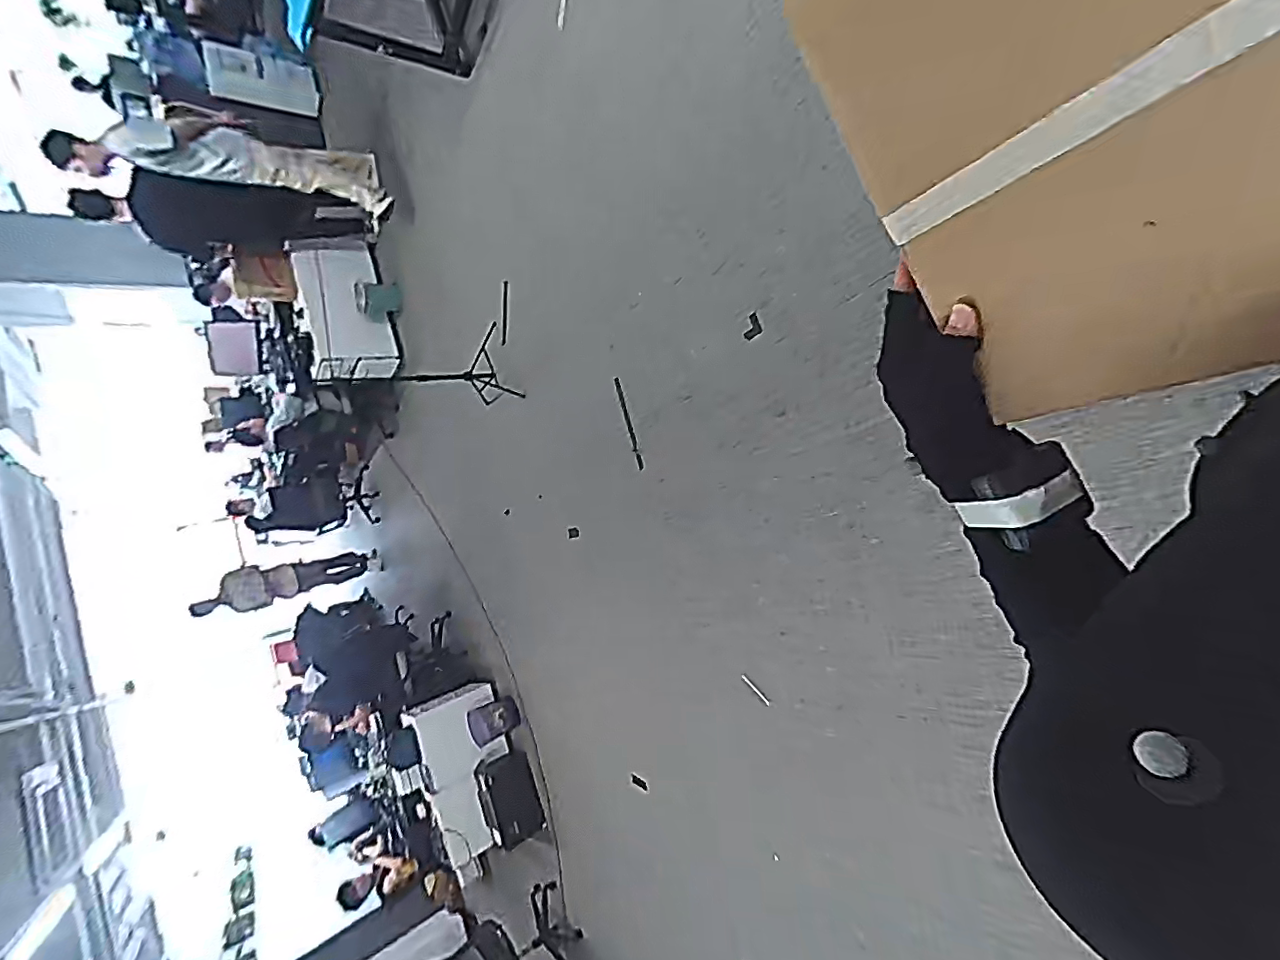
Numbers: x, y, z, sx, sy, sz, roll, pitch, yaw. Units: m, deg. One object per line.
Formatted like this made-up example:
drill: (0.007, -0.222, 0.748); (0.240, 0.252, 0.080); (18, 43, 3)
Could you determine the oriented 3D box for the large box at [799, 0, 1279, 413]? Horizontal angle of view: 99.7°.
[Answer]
large box: (0.380, -0.286, 0.289); (0.320, 0.320, 0.408); (56, 148, -11)
